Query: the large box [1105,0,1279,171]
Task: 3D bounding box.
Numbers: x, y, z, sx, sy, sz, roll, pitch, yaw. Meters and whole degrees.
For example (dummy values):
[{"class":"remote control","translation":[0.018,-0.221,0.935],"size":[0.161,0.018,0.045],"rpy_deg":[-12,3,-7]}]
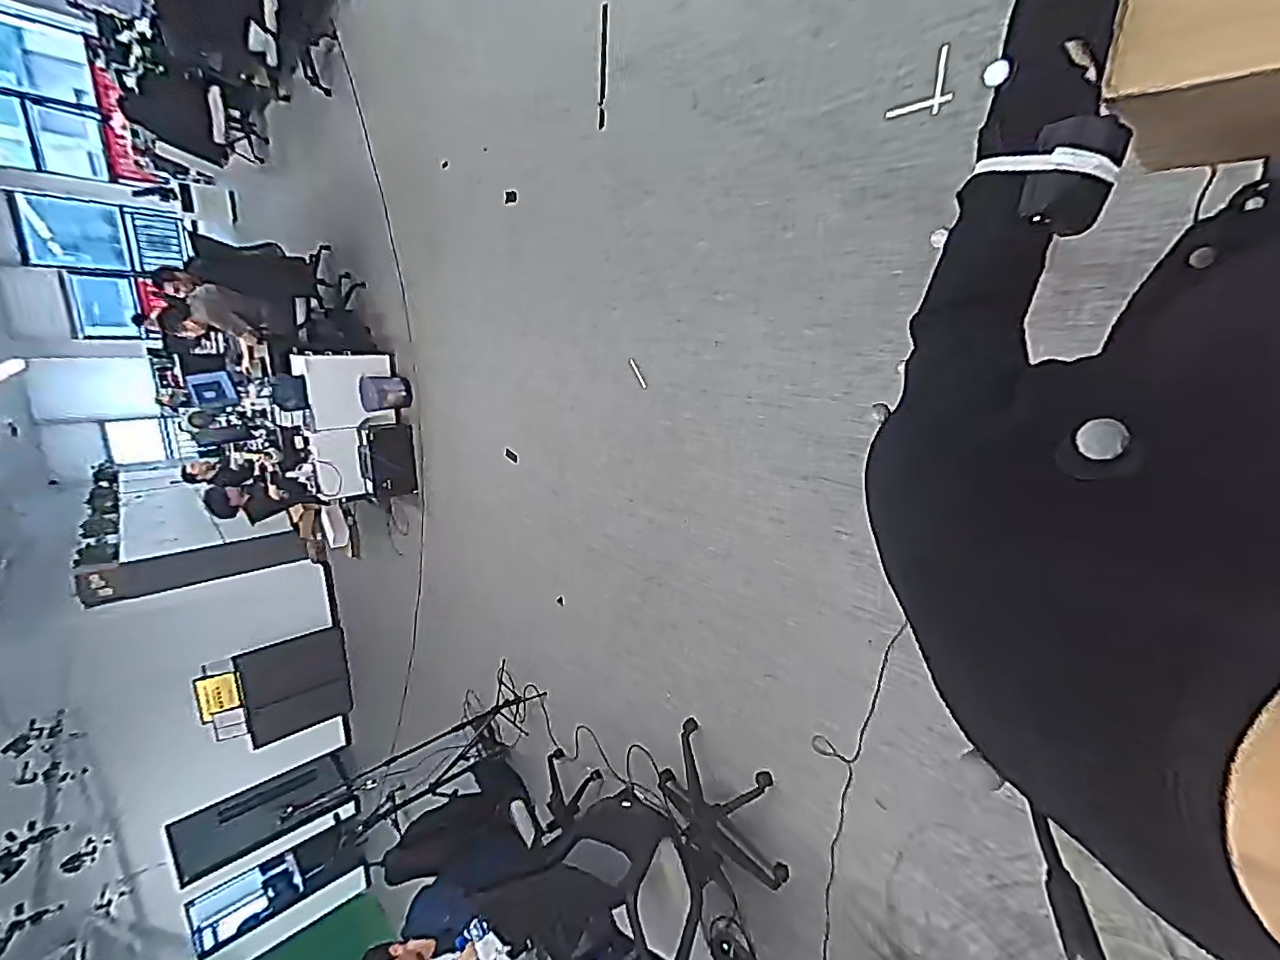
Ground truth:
[{"class":"large box","translation":[0.572,-0.405,0.307],"size":[0.408,0.320,0.320],"rpy_deg":[17,115,43]}]
